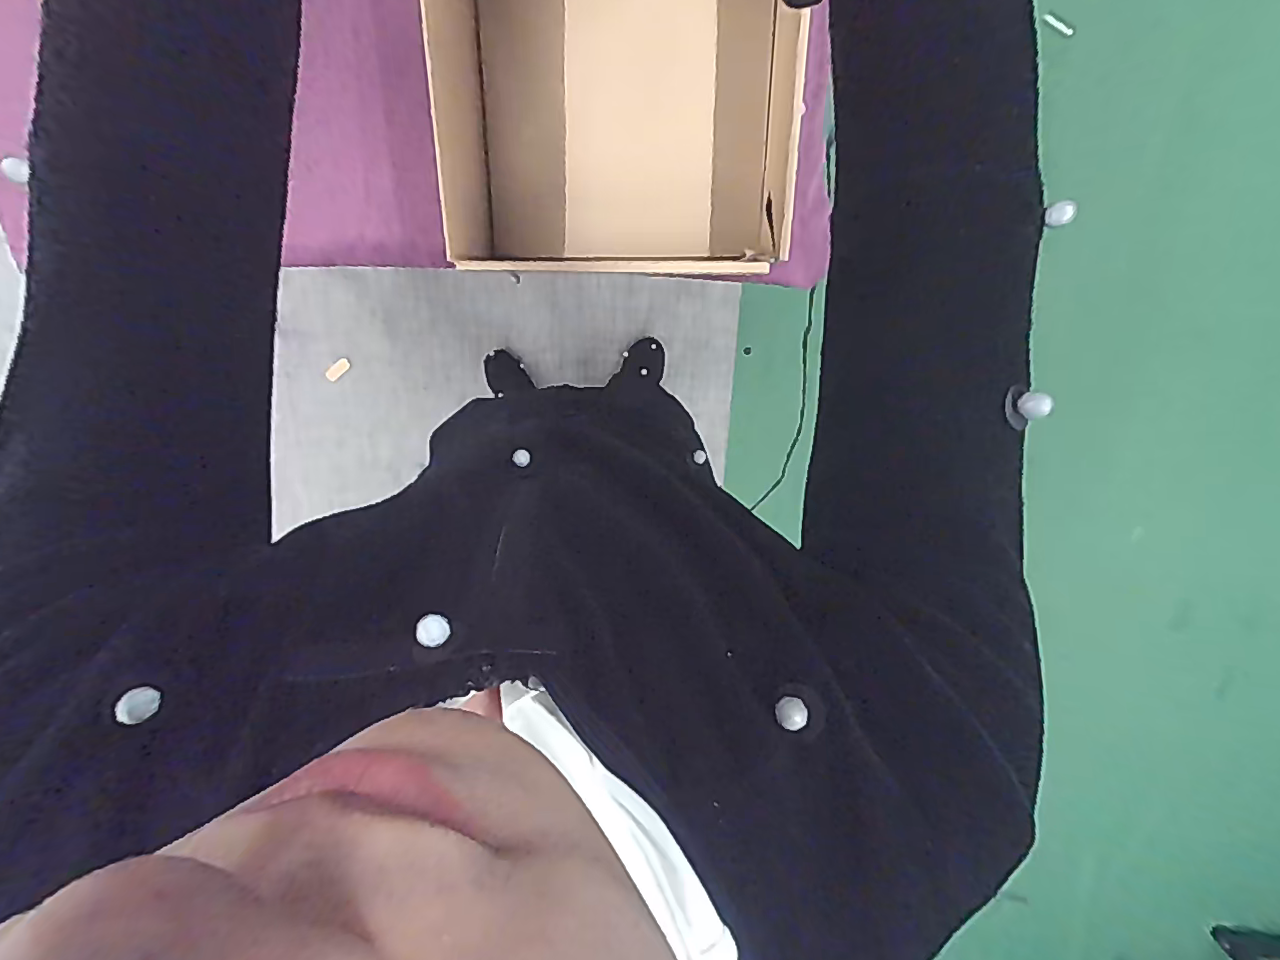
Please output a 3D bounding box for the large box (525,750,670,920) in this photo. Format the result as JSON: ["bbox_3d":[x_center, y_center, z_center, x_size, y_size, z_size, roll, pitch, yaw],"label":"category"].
[{"bbox_3d":[-0.139,1.267,1.947,0.408,0.320,0.320,-30,105,11],"label":"large box"}]
